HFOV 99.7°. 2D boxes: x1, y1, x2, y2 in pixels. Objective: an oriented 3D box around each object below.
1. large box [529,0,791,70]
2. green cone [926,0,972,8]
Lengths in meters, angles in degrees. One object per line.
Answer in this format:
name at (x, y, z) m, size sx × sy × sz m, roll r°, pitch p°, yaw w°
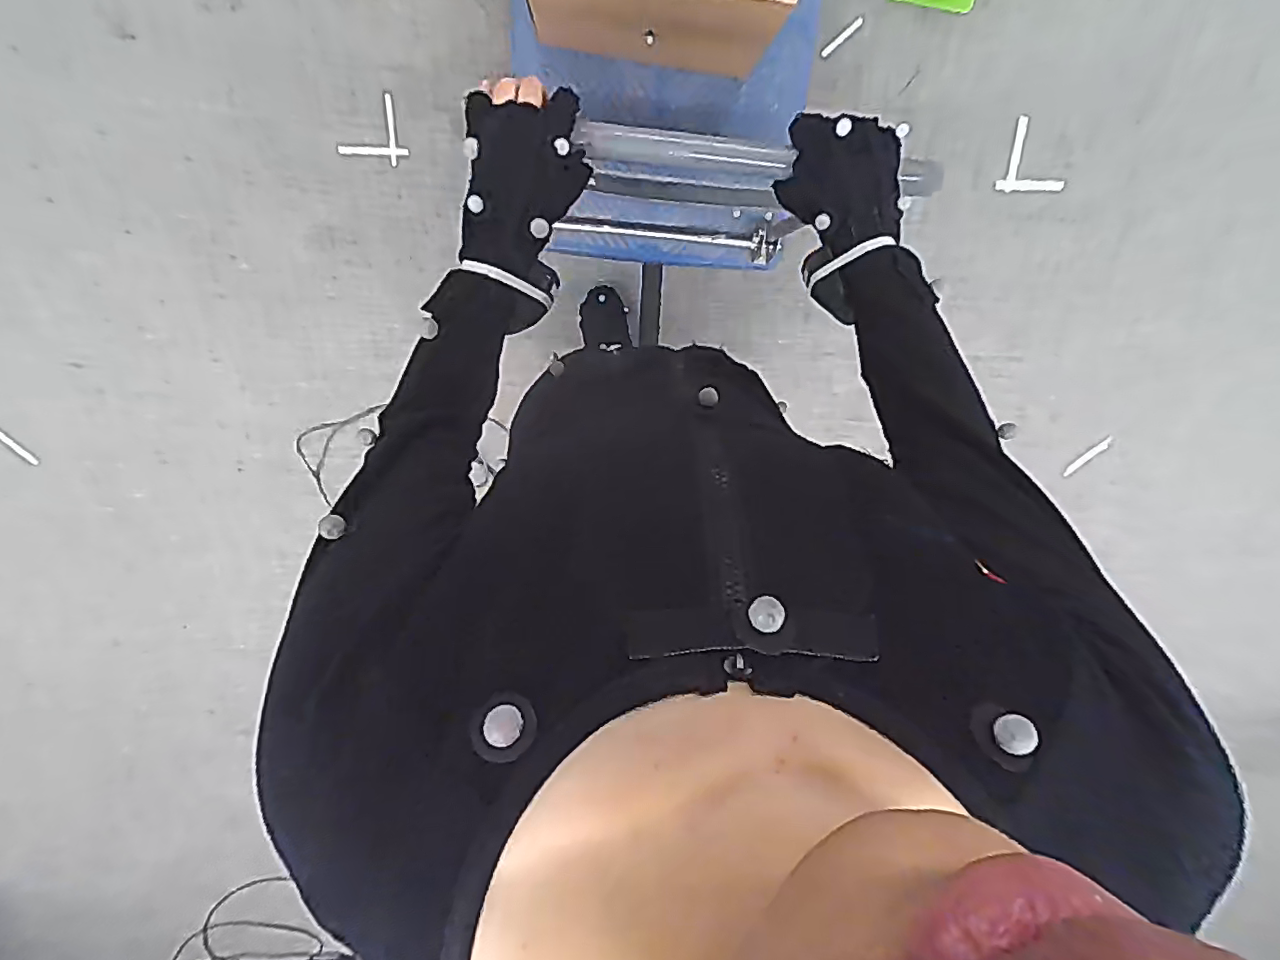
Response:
large box at (0.034, -0.902, 0.851) m, size 0.408 × 0.320 × 0.320 m, roll 5°, pitch 109°, yaw -5°
green cone at (0.657, -1.080, 0.986) m, size 0.202 × 0.368 × 0.200 m, roll 5°, pitch 109°, yaw -7°
